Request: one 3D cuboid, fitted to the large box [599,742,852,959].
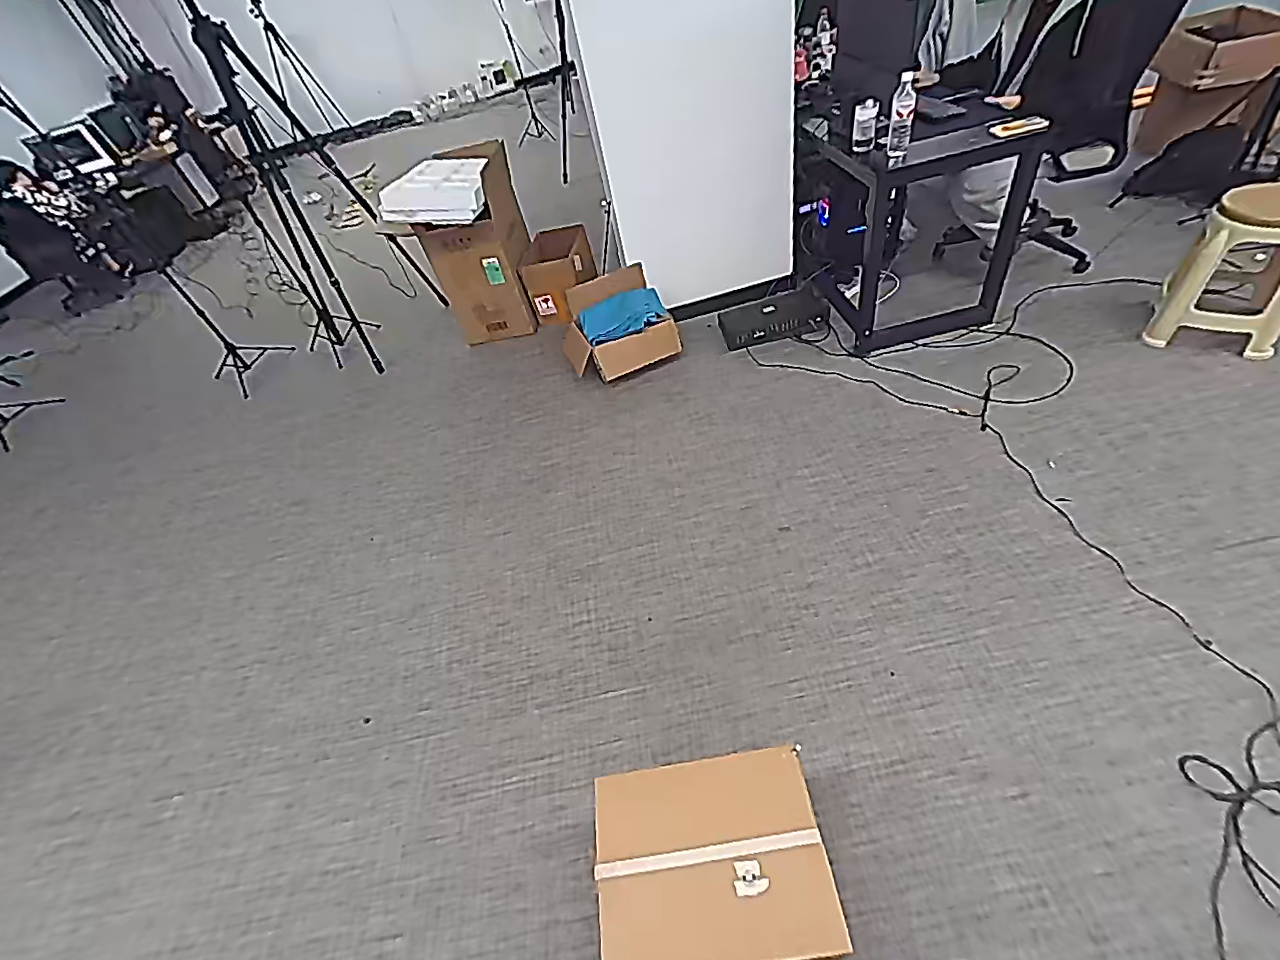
[{"bbox_3d":[0.153,0.766,1.070,0.408,0.320,0.320,-11,45,3],"label":"large box"}]
